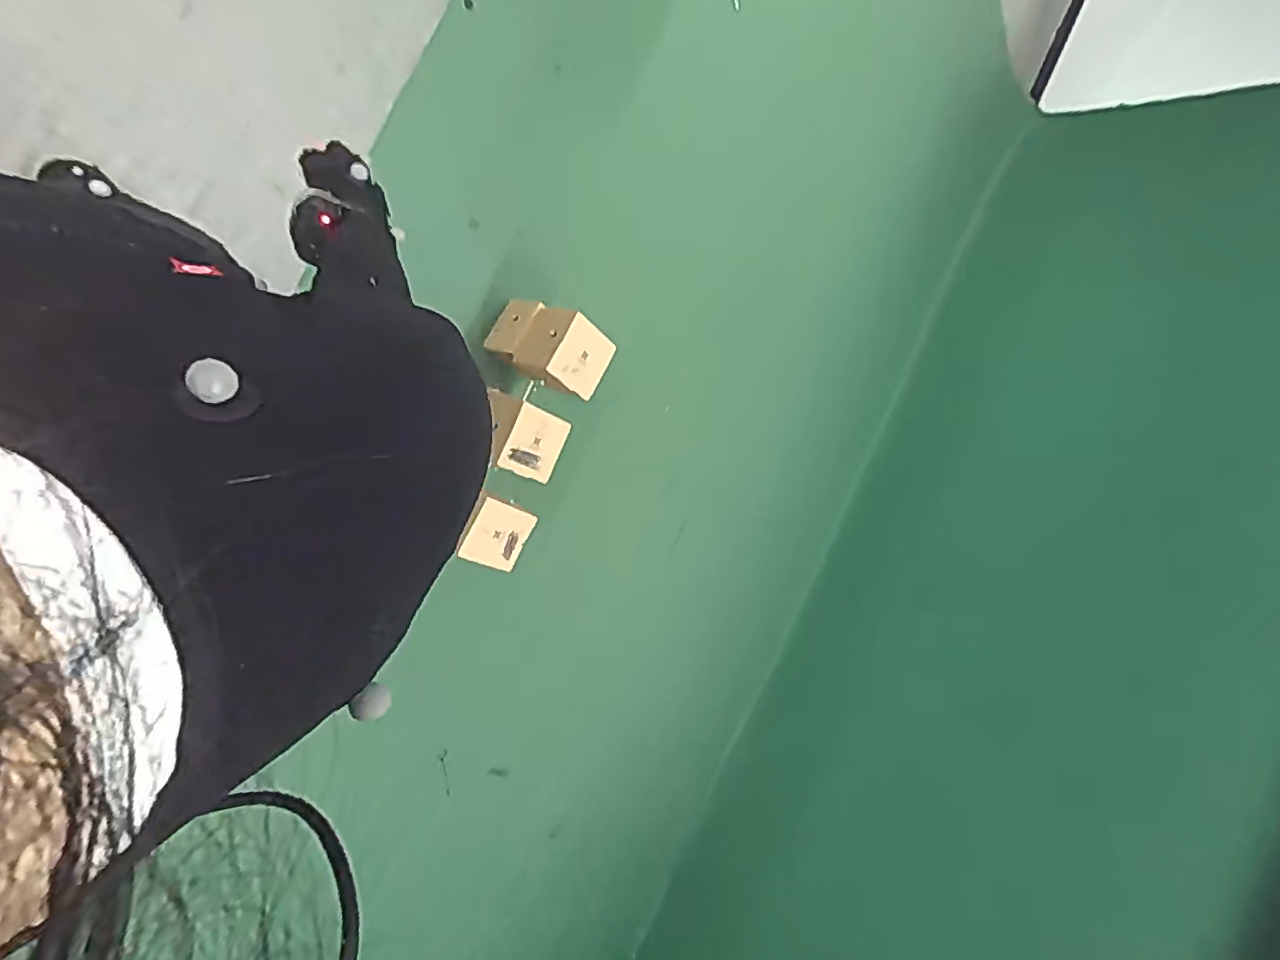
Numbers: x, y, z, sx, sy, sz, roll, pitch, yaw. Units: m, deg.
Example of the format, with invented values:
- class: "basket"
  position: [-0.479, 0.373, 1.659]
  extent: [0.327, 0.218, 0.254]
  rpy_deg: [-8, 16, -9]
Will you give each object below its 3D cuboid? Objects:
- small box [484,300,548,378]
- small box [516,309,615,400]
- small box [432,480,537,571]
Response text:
- class: "small box"
  position: [-0.317, -0.401, 1.569]
  extent: [0.179, 0.176, 0.168]
  rpy_deg: [36, 80, -46]
- class: "small box"
  position: [-0.205, -0.344, 1.462]
  extent: [0.168, 0.176, 0.179]
  rpy_deg: [35, 81, -46]
- class: "small box"
  position: [-0.418, 0.118, 1.446]
  extent: [0.179, 0.176, 0.168]
  rpy_deg: [31, 84, -46]
